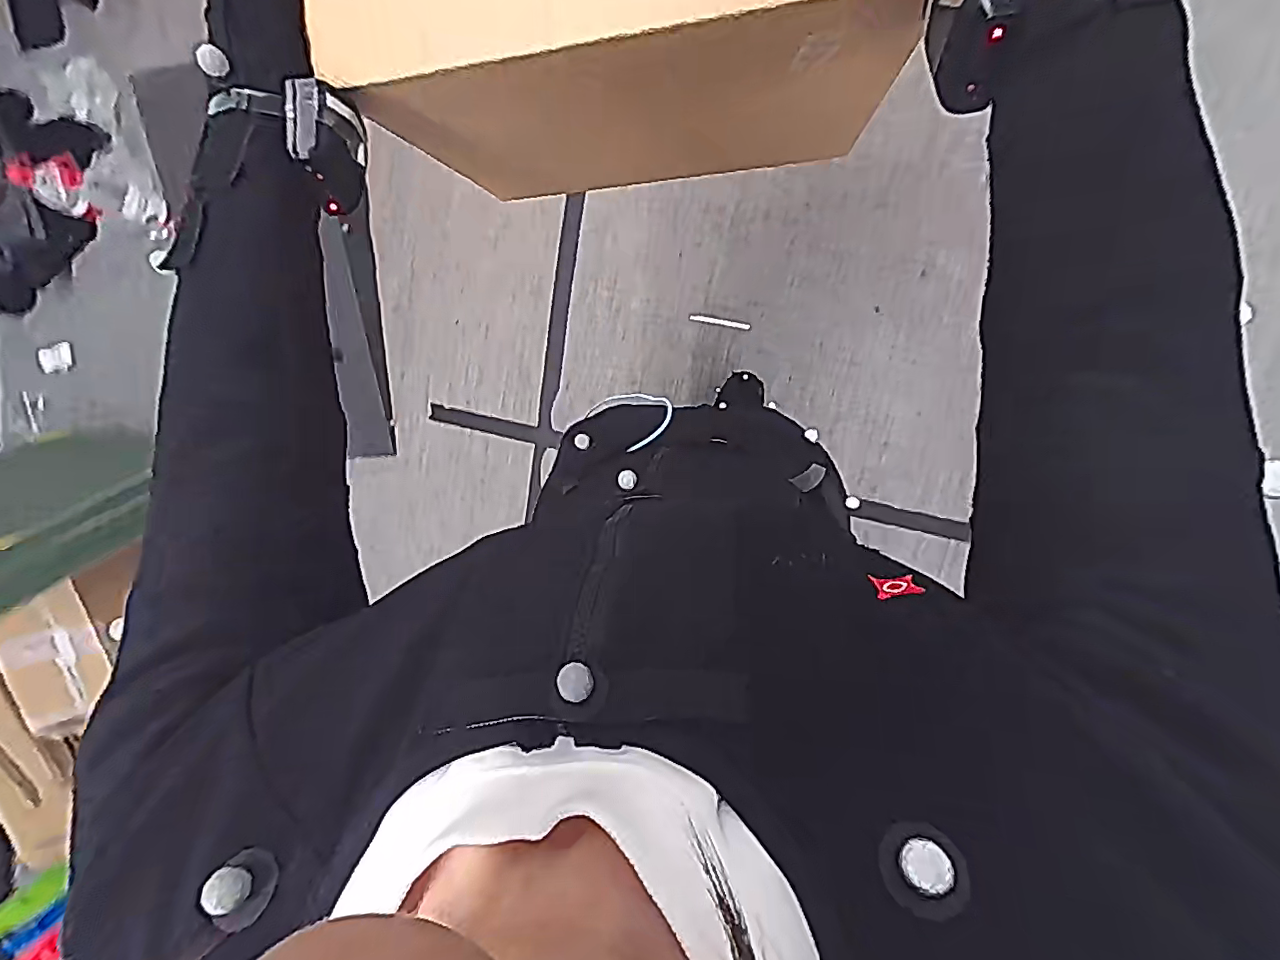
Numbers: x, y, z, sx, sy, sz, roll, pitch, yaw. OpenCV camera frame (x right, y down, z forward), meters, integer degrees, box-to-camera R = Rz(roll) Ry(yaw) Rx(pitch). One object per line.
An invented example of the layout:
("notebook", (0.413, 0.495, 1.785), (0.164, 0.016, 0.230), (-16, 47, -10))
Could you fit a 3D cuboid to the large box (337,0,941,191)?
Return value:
("large box", (0.005, -0.469, 0.446), (0.408, 0.320, 0.320), (-2, 105, 9))
